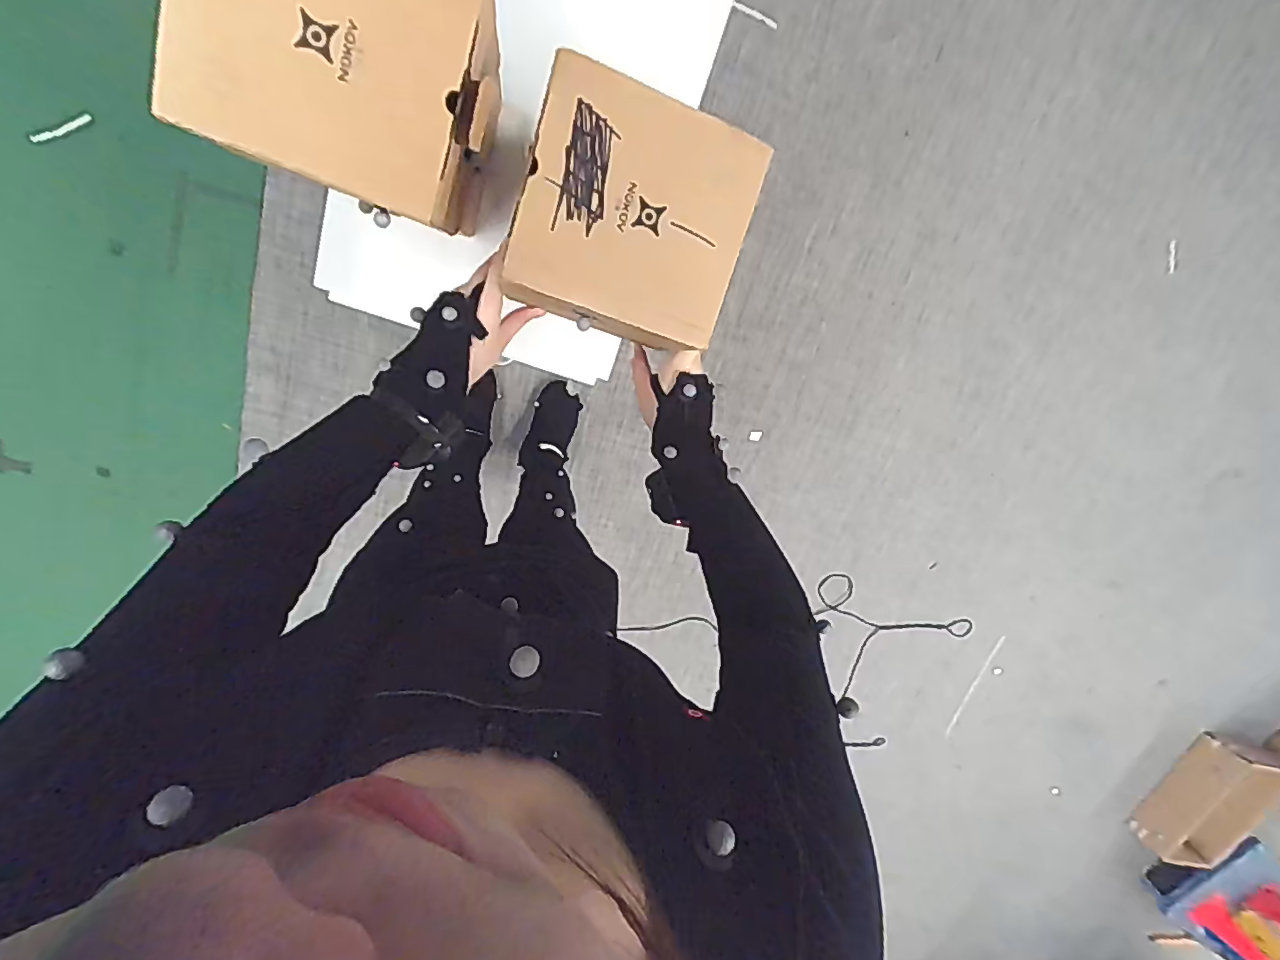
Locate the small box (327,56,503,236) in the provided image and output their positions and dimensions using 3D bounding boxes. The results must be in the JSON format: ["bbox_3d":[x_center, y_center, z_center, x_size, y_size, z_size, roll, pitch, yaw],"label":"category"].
[{"bbox_3d":[-0.253,-0.374,0.578,0.179,0.176,0.168,14,107,-18],"label":"small box"}]

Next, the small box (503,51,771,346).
[{"bbox_3d":[-0.017,-0.226,0.494,0.179,0.176,0.168,16,99,-16],"label":"small box"}]

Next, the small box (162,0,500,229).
[{"bbox_3d":[-0.219,-0.315,0.428,0.179,0.176,0.168,16,105,-20],"label":"small box"}]
